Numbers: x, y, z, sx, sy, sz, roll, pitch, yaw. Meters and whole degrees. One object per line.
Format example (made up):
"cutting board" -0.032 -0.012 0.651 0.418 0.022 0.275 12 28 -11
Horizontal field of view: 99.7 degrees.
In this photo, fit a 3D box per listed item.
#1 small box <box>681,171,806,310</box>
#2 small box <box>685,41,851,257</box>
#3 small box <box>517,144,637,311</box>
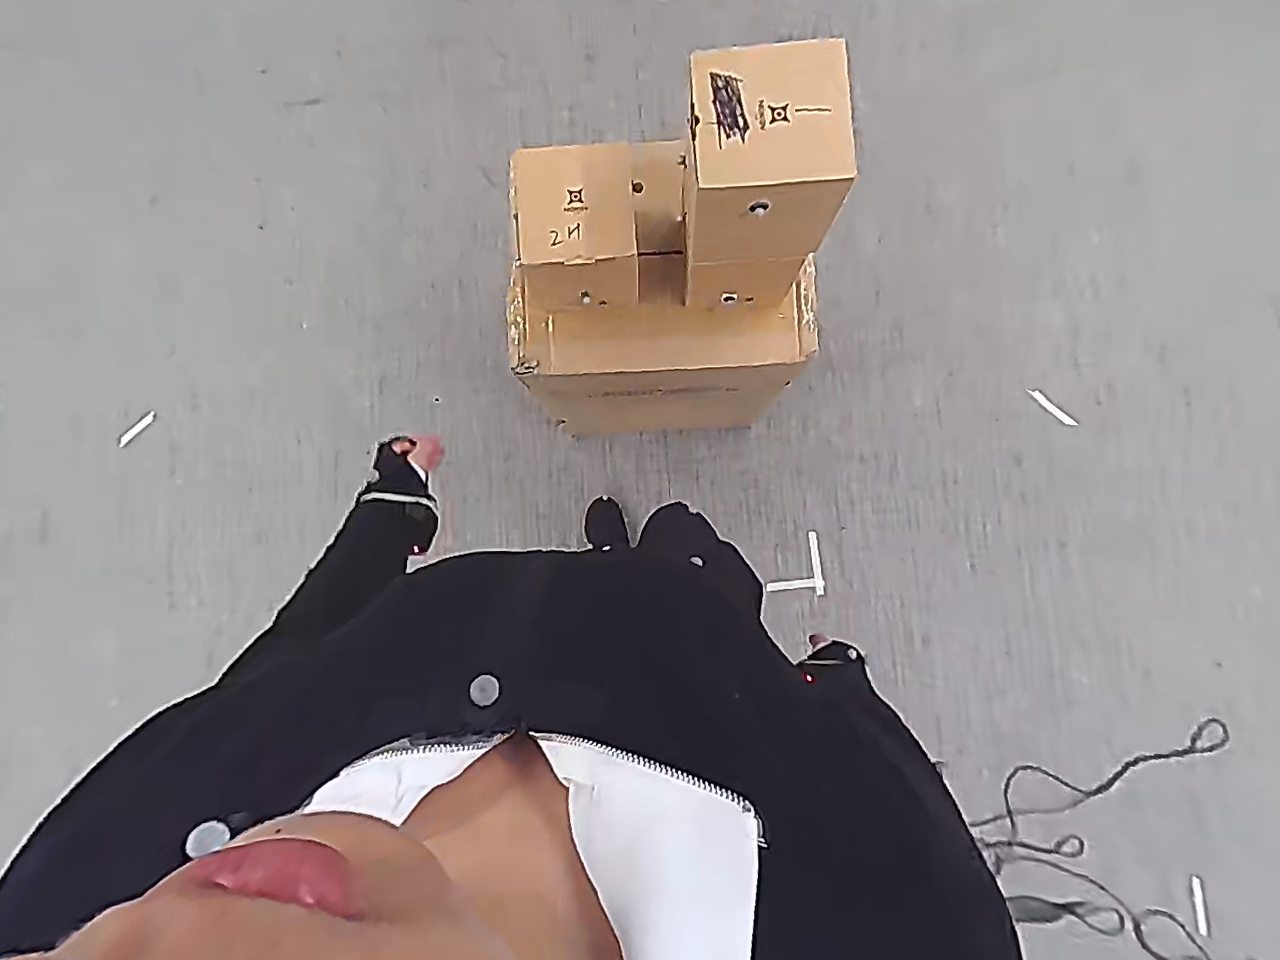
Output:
"small box" 0.152 -0.385 0.845 0.168 0.176 0.179 -4 87 3
"small box" 0.147 -0.398 0.681 0.179 0.176 0.168 -3 85 2
"small box" -0.092 -0.386 0.849 0.168 0.176 0.179 -4 85 0
